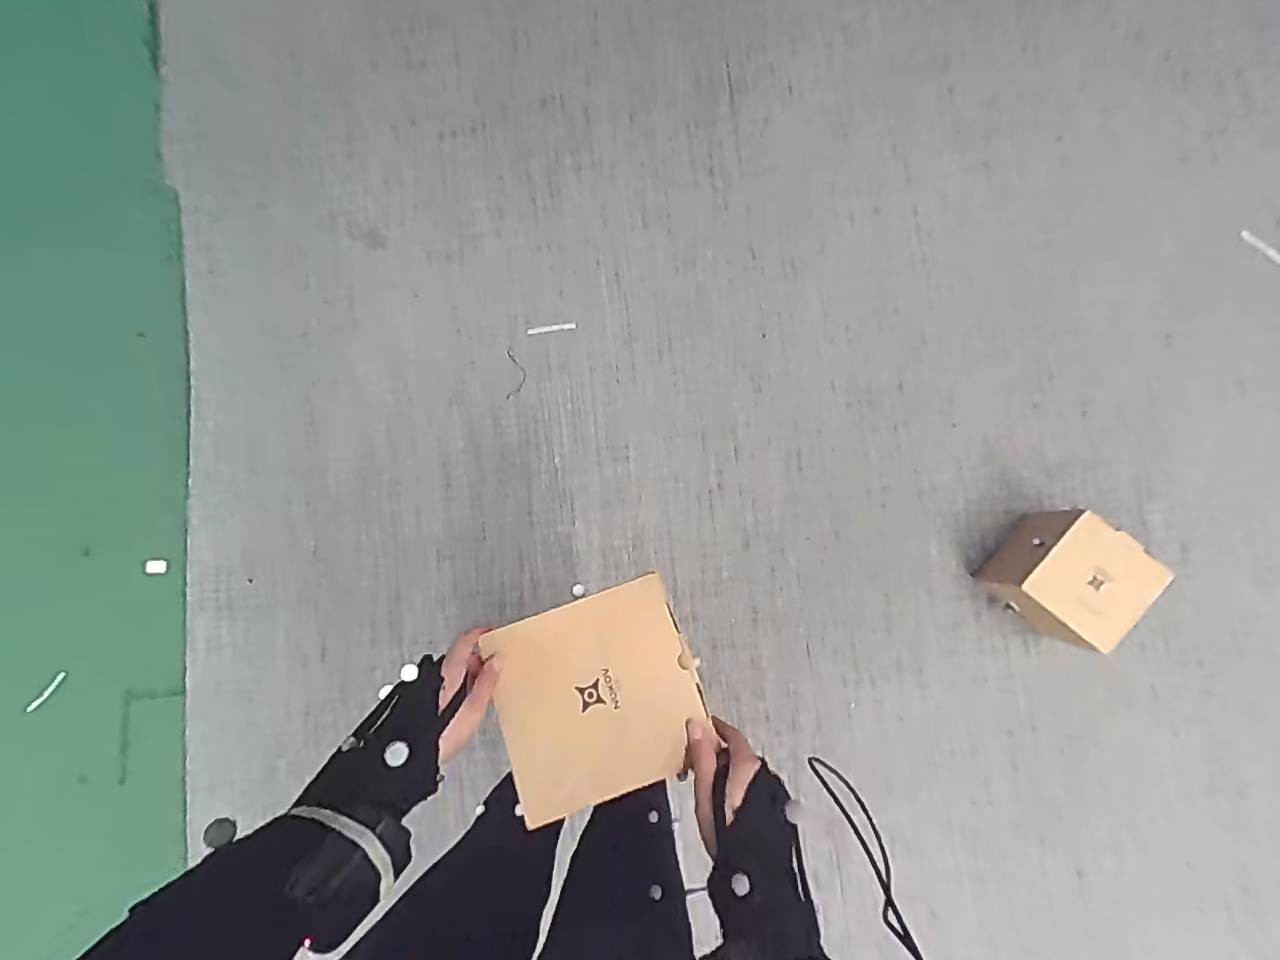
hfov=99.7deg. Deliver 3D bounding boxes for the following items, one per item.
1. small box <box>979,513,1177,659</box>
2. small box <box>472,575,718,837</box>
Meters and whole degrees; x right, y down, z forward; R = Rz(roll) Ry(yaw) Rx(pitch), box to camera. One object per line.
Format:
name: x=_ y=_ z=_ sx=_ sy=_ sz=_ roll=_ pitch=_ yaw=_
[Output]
small box: x=0.744 y=0.177 z=0.945 sx=0.168 sy=0.176 sz=0.179 roll=40 pitch=90 yaw=10
small box: x=-0.038 y=0.208 z=0.533 sx=0.179 sy=0.176 sz=0.168 roll=-20 pitch=74 yaw=-4
